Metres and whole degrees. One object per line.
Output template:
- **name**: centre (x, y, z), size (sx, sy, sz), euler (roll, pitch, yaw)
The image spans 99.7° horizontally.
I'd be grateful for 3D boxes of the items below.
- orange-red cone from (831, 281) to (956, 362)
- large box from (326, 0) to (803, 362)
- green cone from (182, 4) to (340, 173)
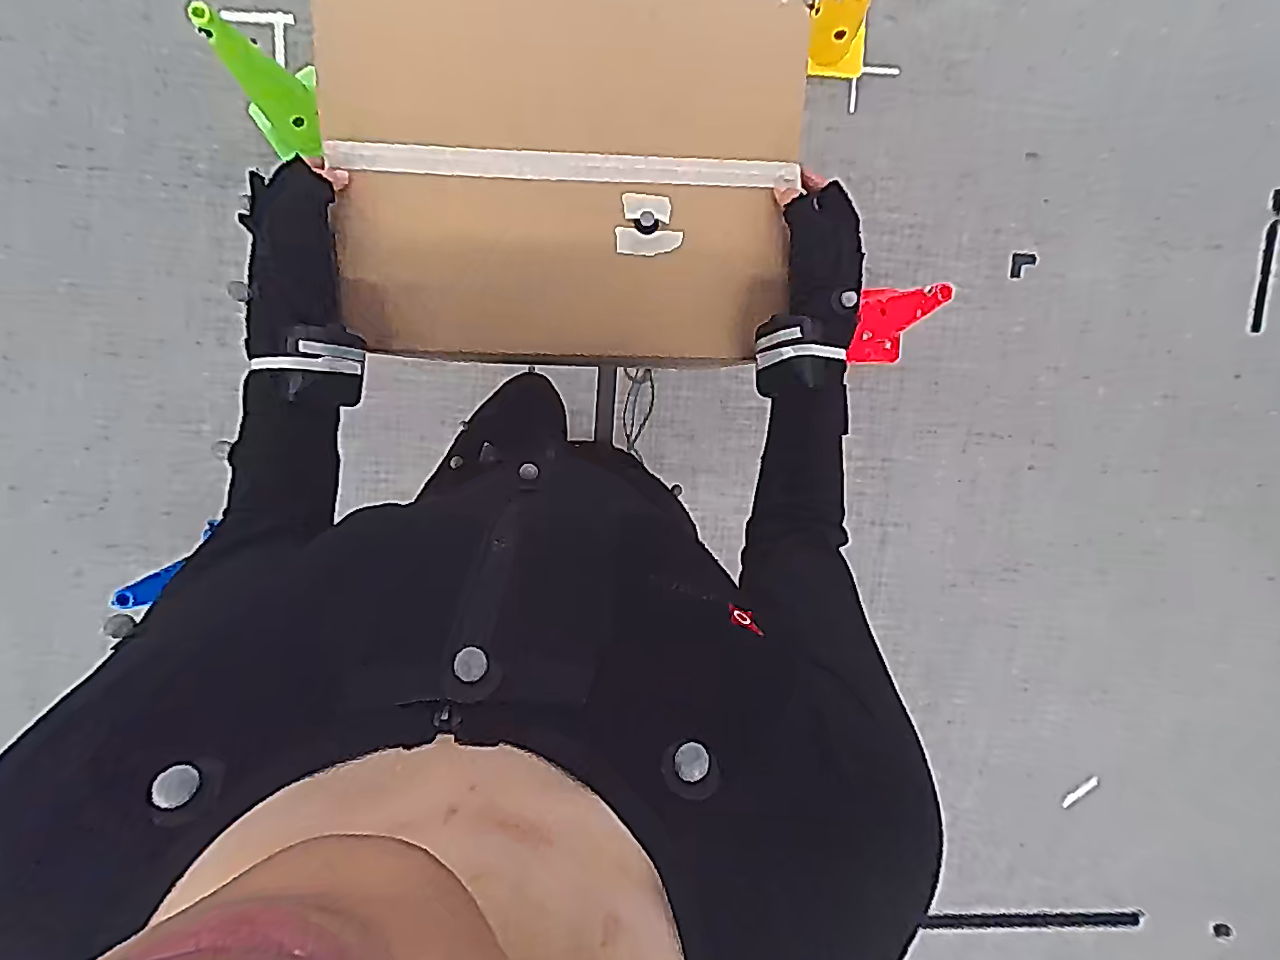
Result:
- **orange-red cone**: centre (0.629, -0.413, 1.302), size (0.198, 0.360, 0.199), euler (0, 93, -4)
- **large box**: centre (-0.071, -0.302, 0.618), size (0.408, 0.320, 0.320), euler (0, 100, -5)
- **green cone**: centre (-0.830, -0.884, 1.176), size (0.202, 0.368, 0.200), euler (-34, 95, 2)
